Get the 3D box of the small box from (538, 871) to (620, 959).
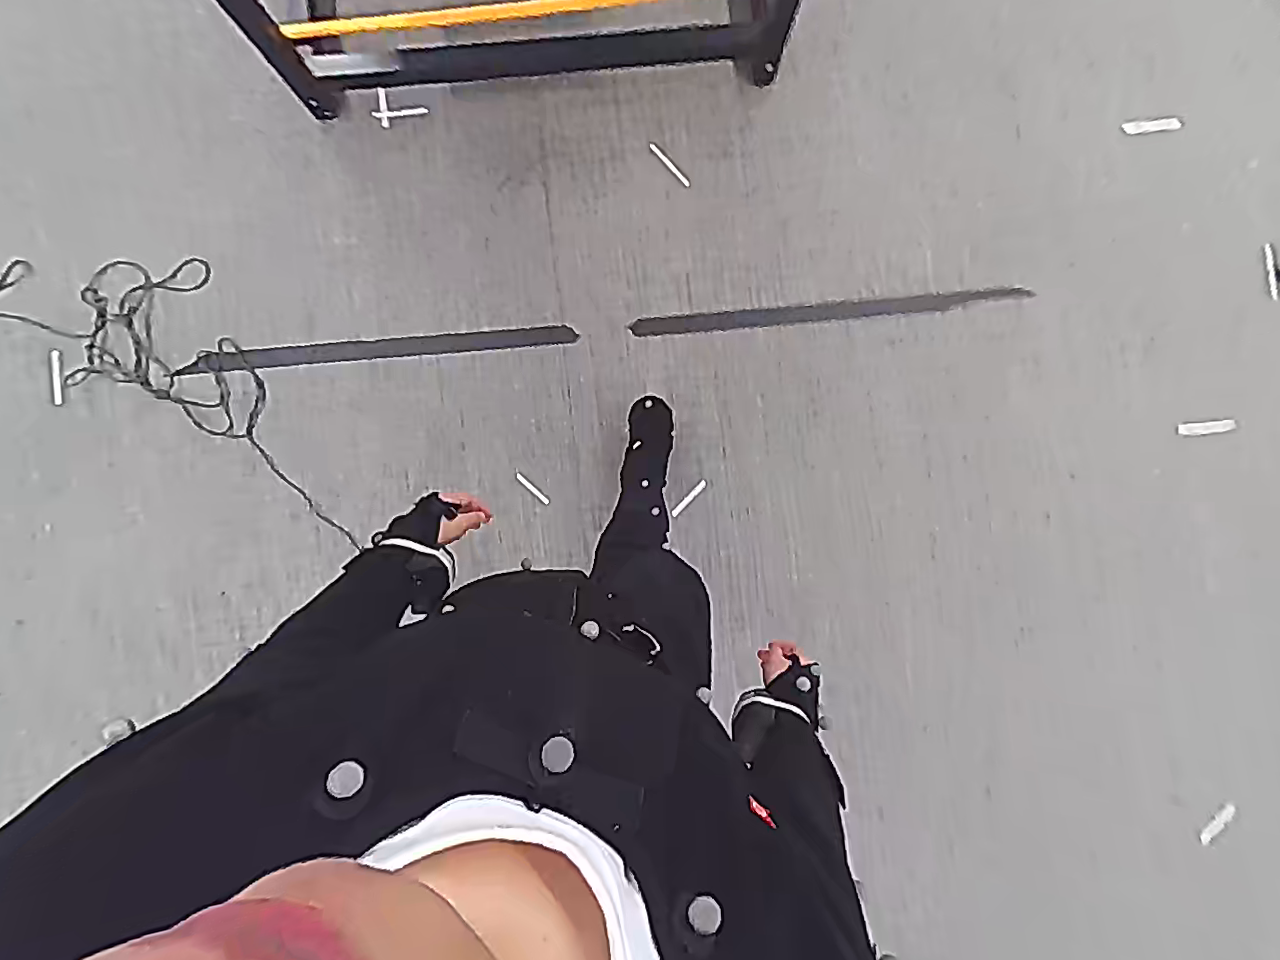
[{"bbox_3d":[-0.138,1.071,1.273,0.168,0.176,0.179,-6,88,-1],"label":"small box"}]
